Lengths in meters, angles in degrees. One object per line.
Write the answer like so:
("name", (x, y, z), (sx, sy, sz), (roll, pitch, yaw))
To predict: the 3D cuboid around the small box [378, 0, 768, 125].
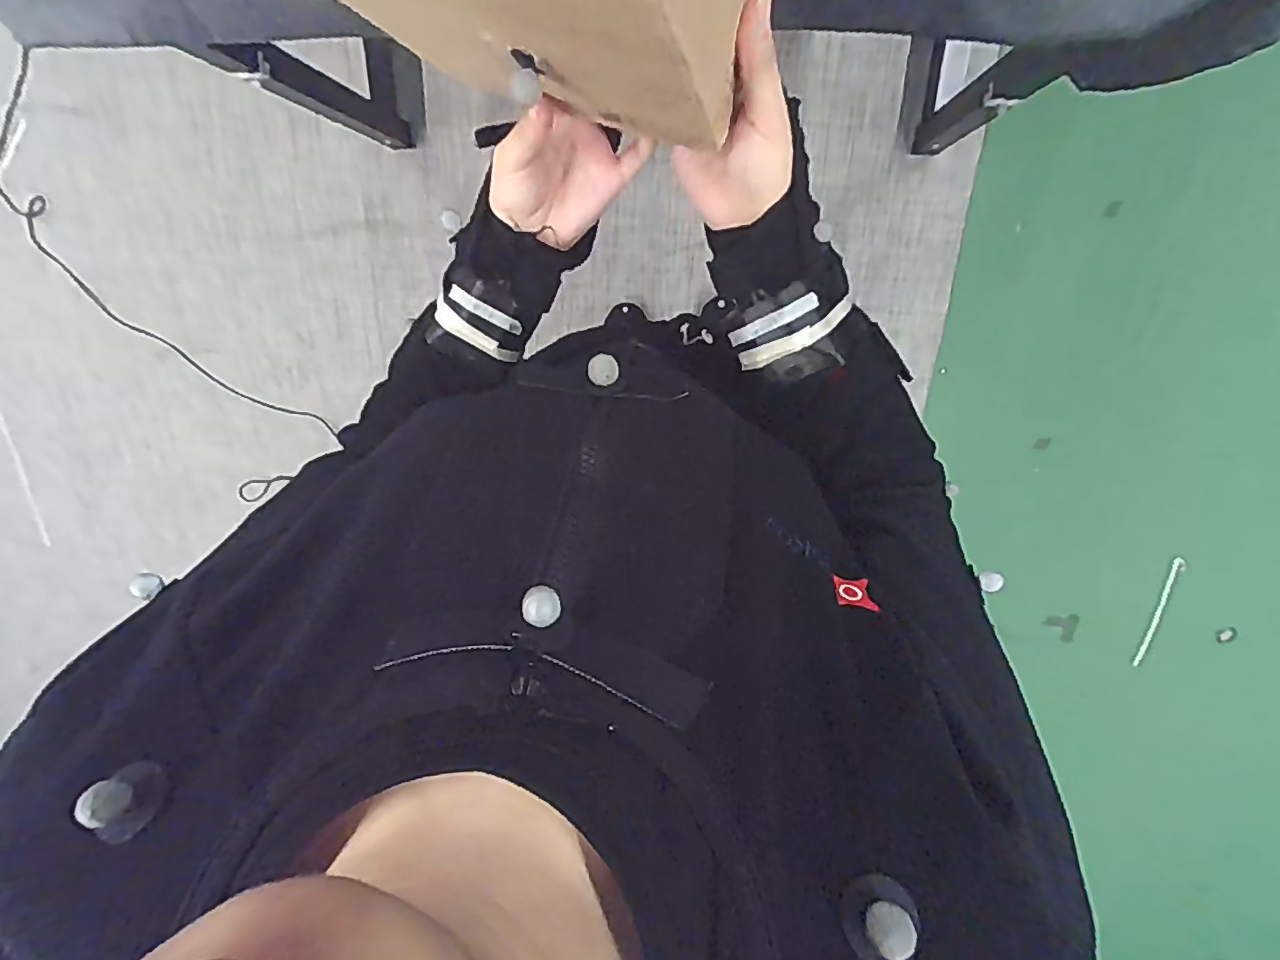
("small box", (-0.025, -0.265, 0.203), (0.168, 0.176, 0.179), (20, 112, 9))
